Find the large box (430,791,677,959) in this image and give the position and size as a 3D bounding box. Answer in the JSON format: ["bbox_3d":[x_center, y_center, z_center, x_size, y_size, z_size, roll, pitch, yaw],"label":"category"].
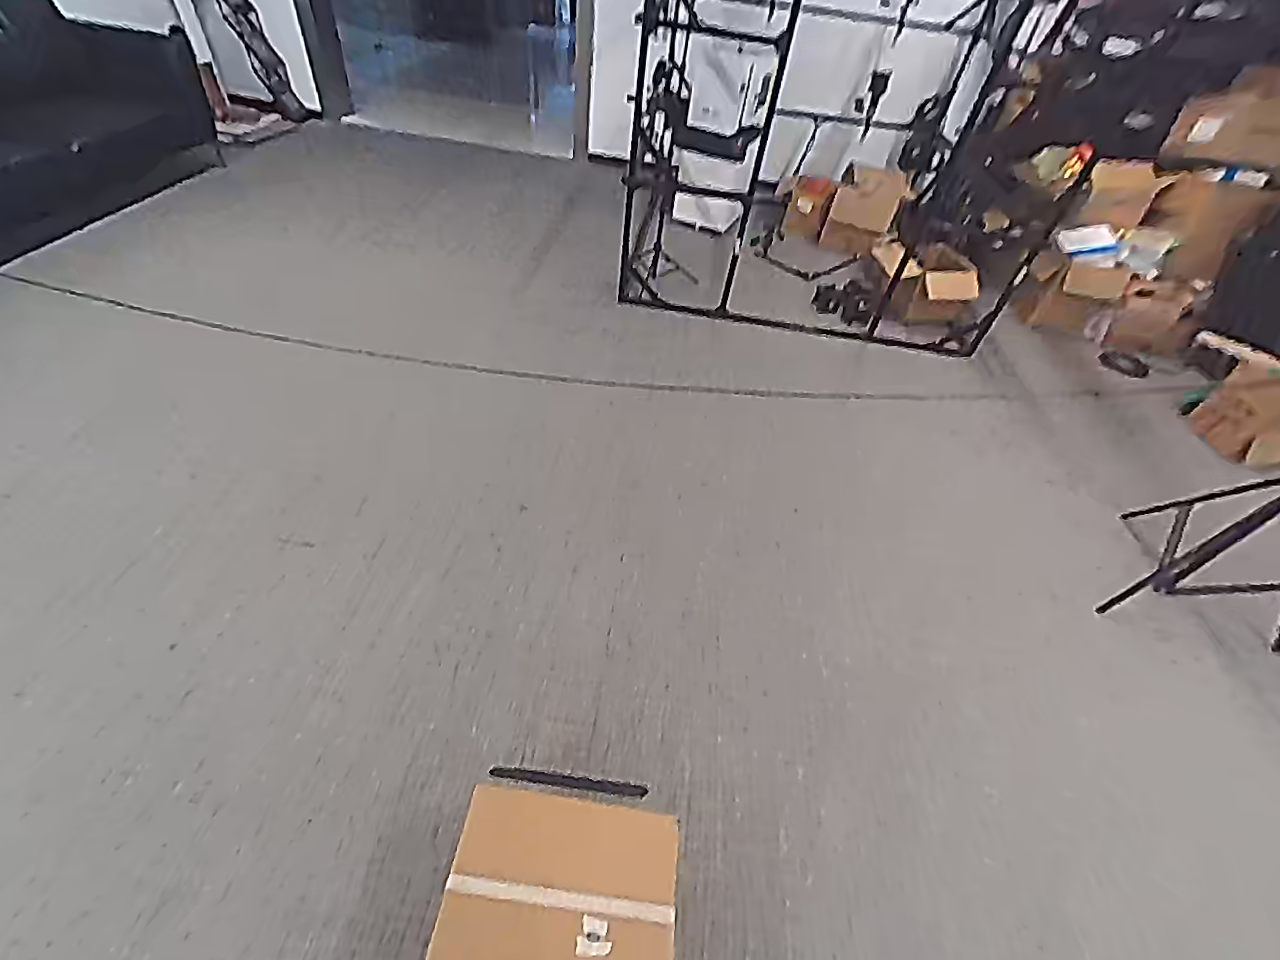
[{"bbox_3d":[-0.157,0.848,1.055,0.408,0.320,0.320,10,45,0],"label":"large box"}]
